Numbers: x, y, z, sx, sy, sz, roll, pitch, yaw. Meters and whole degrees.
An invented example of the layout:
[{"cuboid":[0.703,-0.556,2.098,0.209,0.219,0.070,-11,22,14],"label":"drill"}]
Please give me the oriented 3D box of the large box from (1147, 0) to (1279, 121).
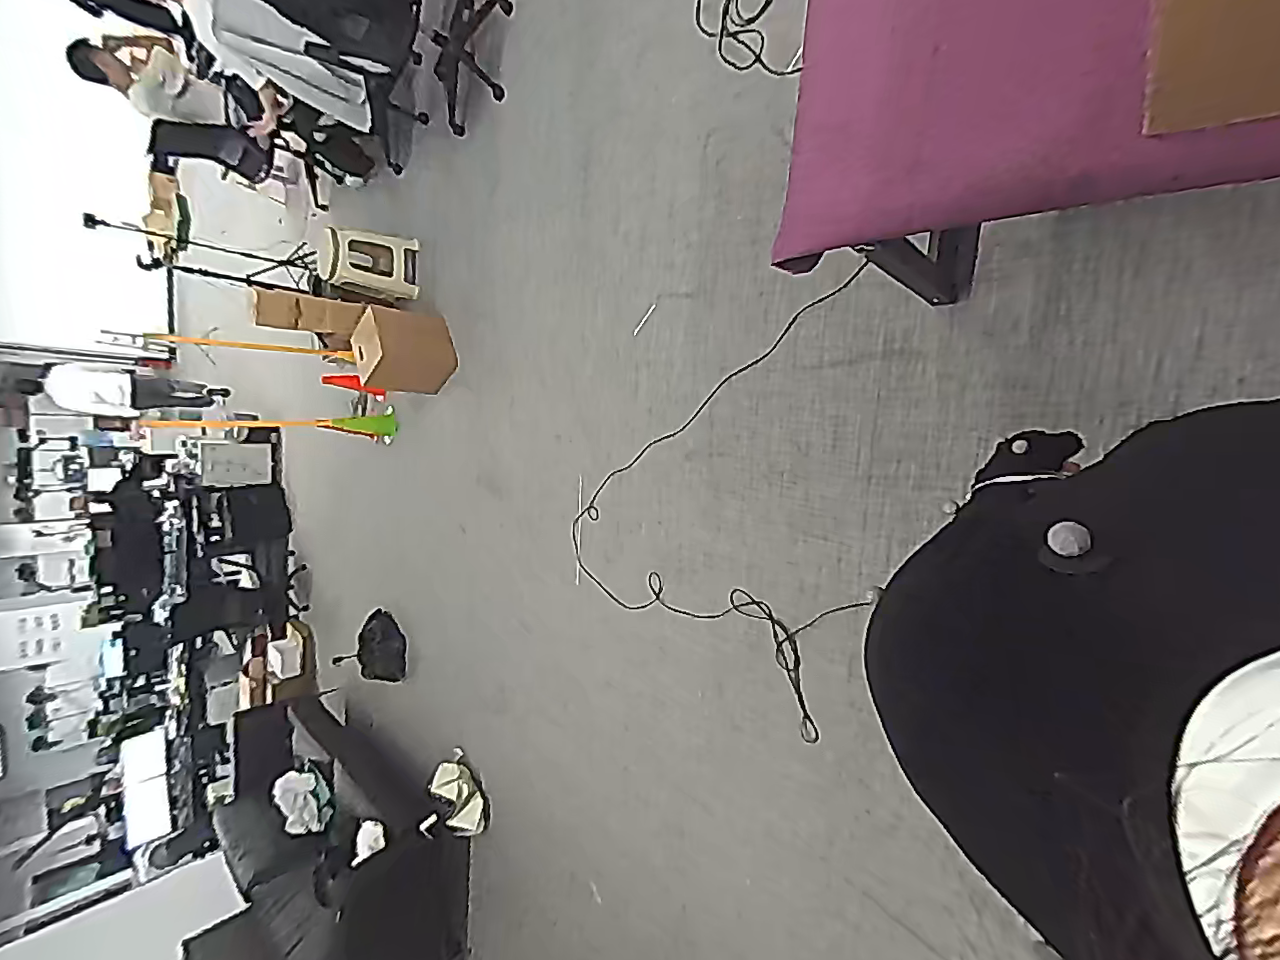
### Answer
[{"cuboid":[0.570,-0.538,0.336,0.320,0.320,0.408,14,101,41],"label":"large box"}]
